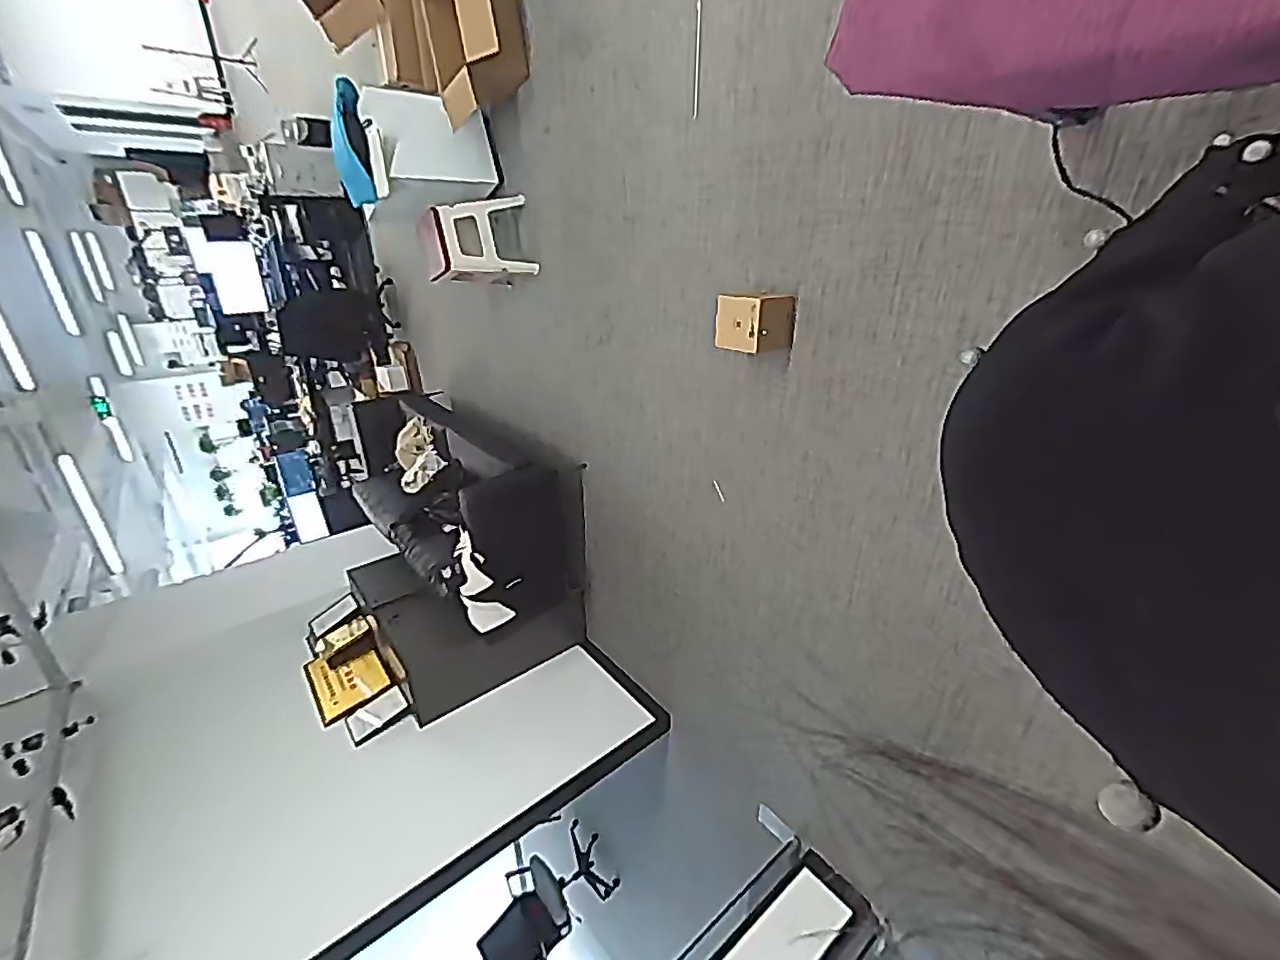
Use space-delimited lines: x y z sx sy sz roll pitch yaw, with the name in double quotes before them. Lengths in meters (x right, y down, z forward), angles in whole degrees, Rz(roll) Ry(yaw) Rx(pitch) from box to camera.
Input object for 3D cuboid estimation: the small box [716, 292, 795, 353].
"small box" 0.371 -0.515 1.747 0.179 0.176 0.168 28 126 45
